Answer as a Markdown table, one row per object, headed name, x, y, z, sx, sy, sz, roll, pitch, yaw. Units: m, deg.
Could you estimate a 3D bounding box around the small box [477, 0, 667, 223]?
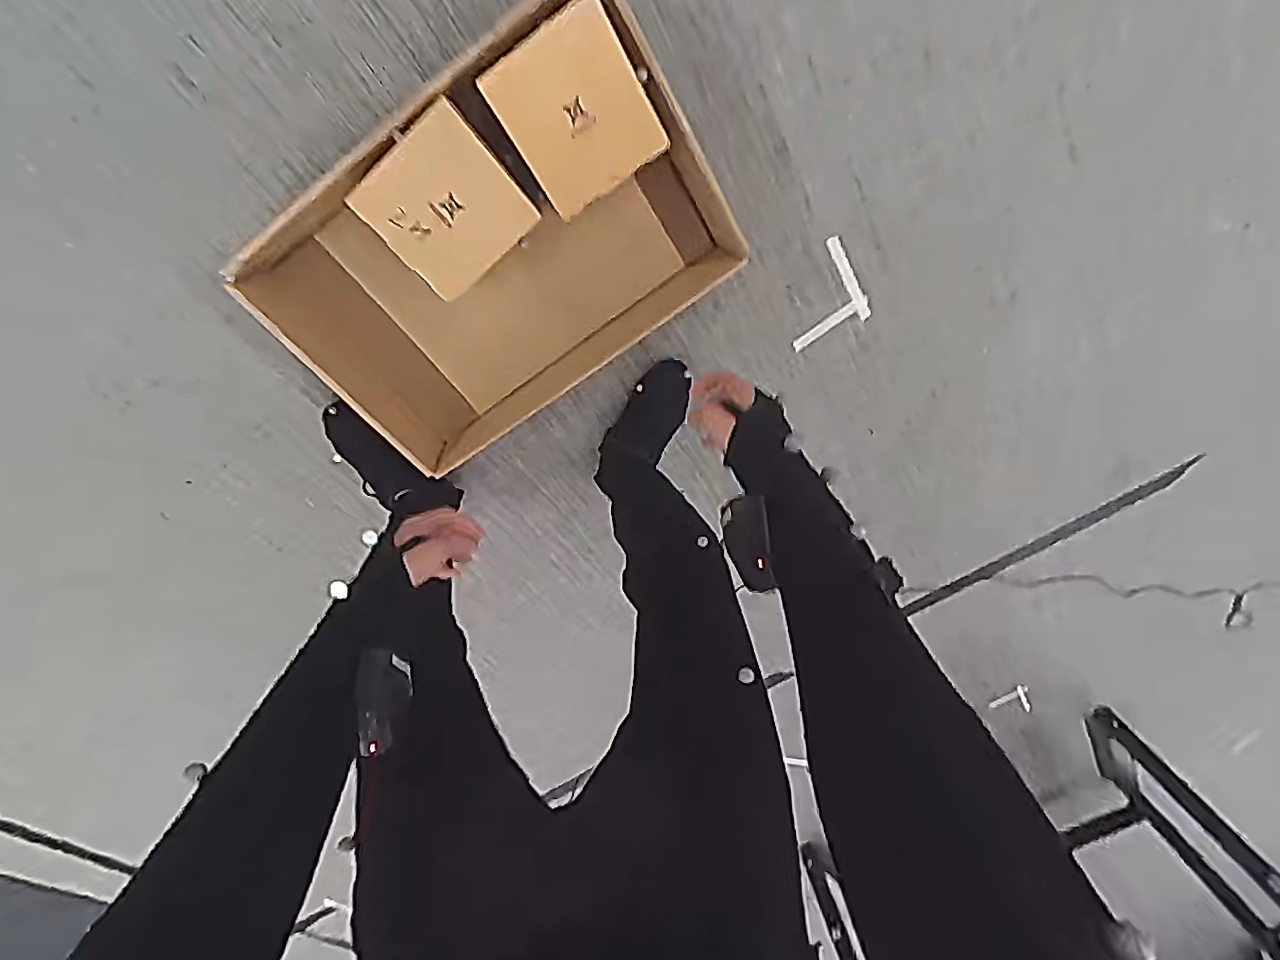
| name | x | y | z | sx | sy | sz | roll | pitch | yaw |
| --- | --- | --- | --- | --- | --- | --- | --- | --- | --- |
| small box | -0.089 | -0.473 | 0.715 | 0.168 | 0.176 | 0.179 | -32 | 122 | 11 |
